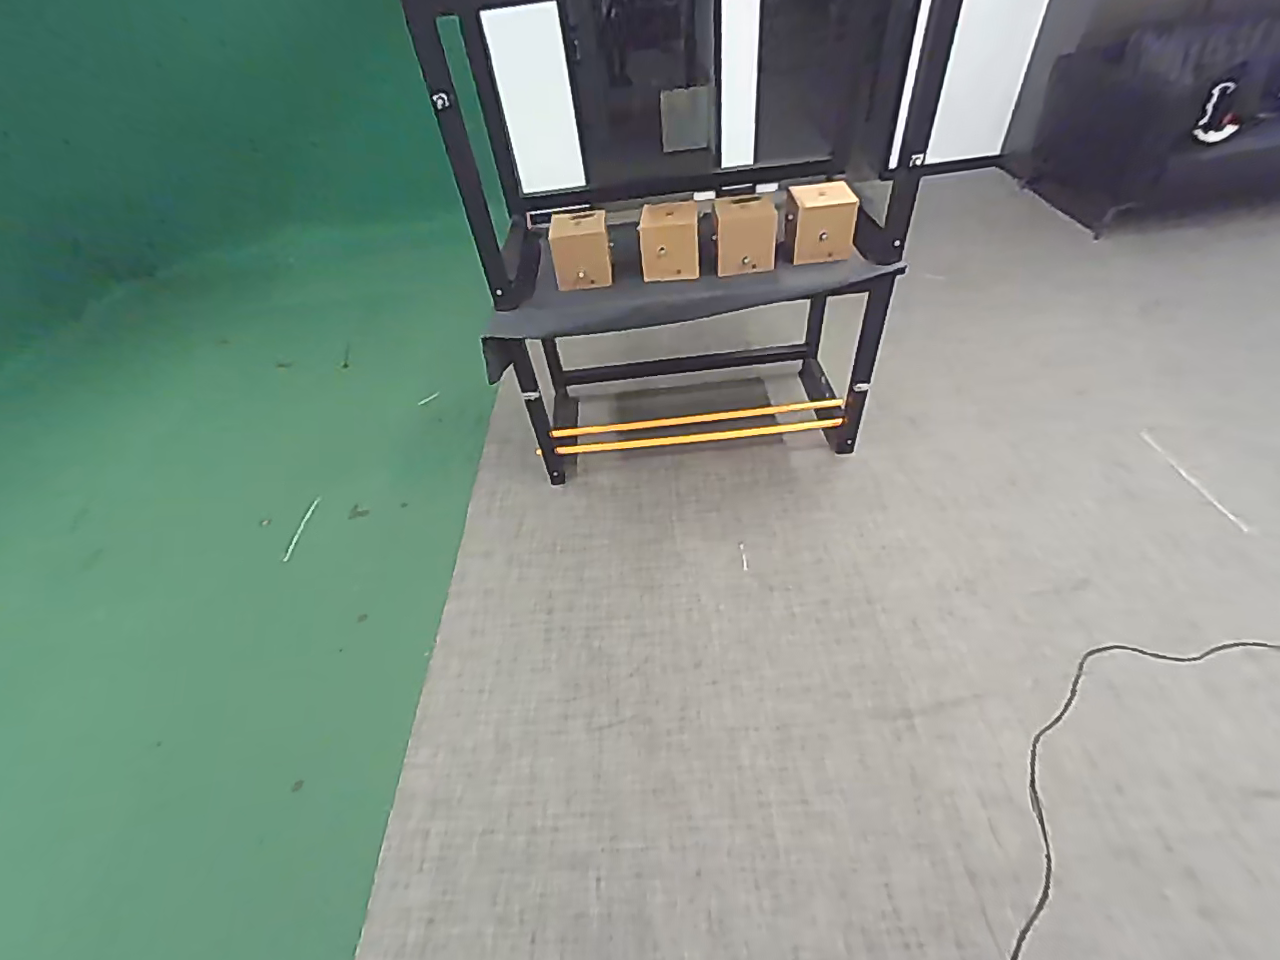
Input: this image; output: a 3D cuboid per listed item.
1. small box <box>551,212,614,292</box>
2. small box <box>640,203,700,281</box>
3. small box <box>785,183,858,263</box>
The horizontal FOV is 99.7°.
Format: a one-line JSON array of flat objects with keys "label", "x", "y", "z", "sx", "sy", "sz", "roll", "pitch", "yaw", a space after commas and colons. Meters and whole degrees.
[{"label": "small box", "x": -0.172, "y": -0.698, "z": 1.660, "sx": 0.168, "sy": 0.176, "sz": 0.179, "roll": -6, "pitch": 46, "yaw": 3}, {"label": "small box", "x": 0.097, "y": -0.717, "z": 1.643, "sx": 0.168, "sy": 0.176, "sz": 0.179, "roll": -1, "pitch": 45, "yaw": 7}, {"label": "small box", "x": 0.535, "y": -0.763, "z": 1.618, "sx": 0.168, "sy": 0.176, "sz": 0.179, "roll": -4, "pitch": 45, "yaw": 5}]
